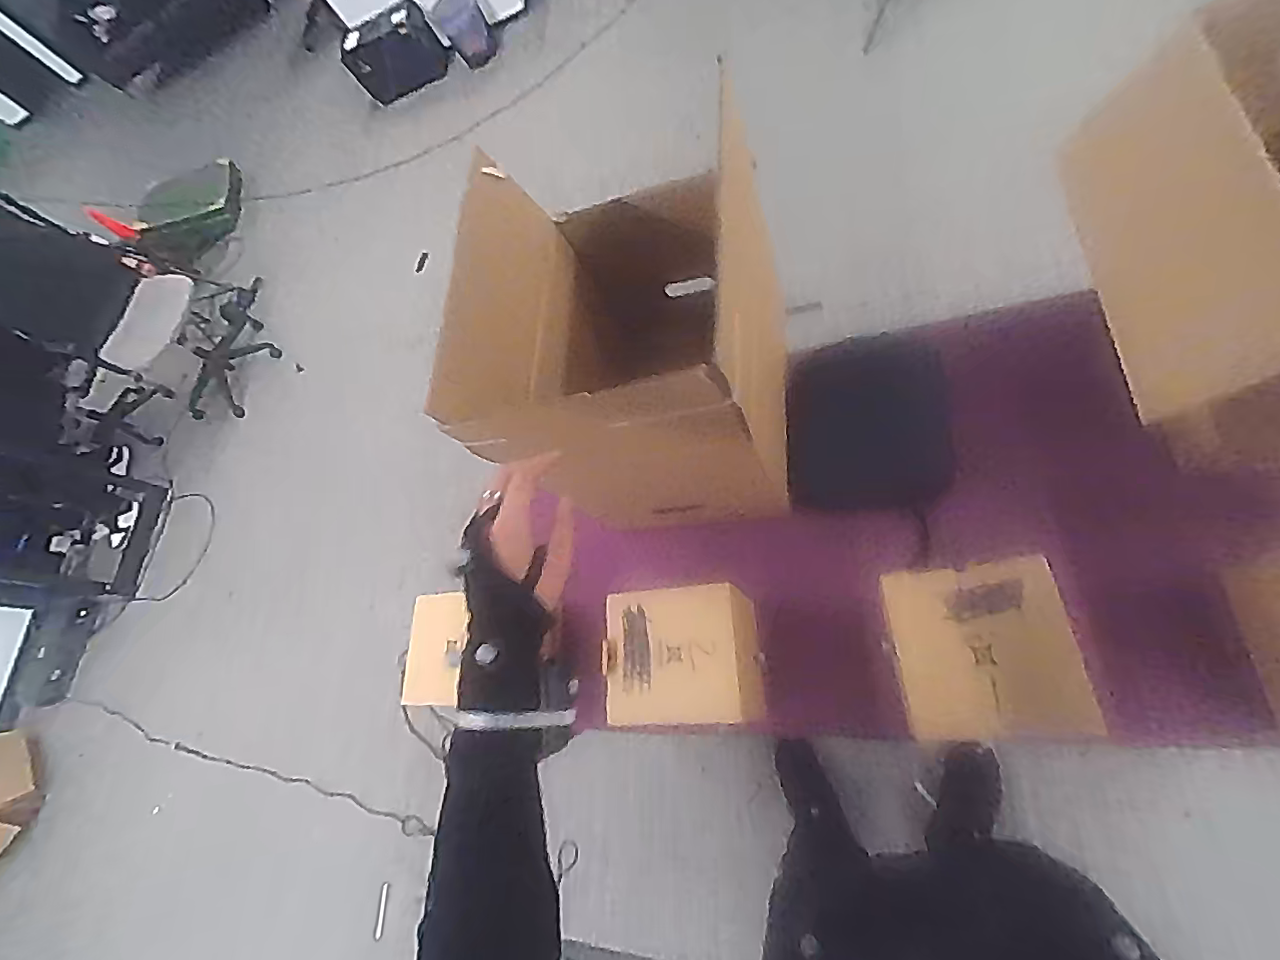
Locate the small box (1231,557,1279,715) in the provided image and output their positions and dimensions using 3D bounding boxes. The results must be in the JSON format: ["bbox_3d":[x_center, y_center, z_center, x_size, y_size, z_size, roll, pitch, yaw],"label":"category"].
[{"bbox_3d":[0.721,0.151,0.502,0.168,0.176,0.179,-8,67,22],"label":"small box"}]

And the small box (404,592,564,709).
[{"bbox_3d":[-0.244,0.282,0.880,0.179,0.176,0.168,-8,67,20],"label":"small box"}]

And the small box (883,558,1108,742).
[{"bbox_3d":[0.389,0.203,0.632,0.168,0.176,0.179,-12,67,19],"label":"small box"}]
